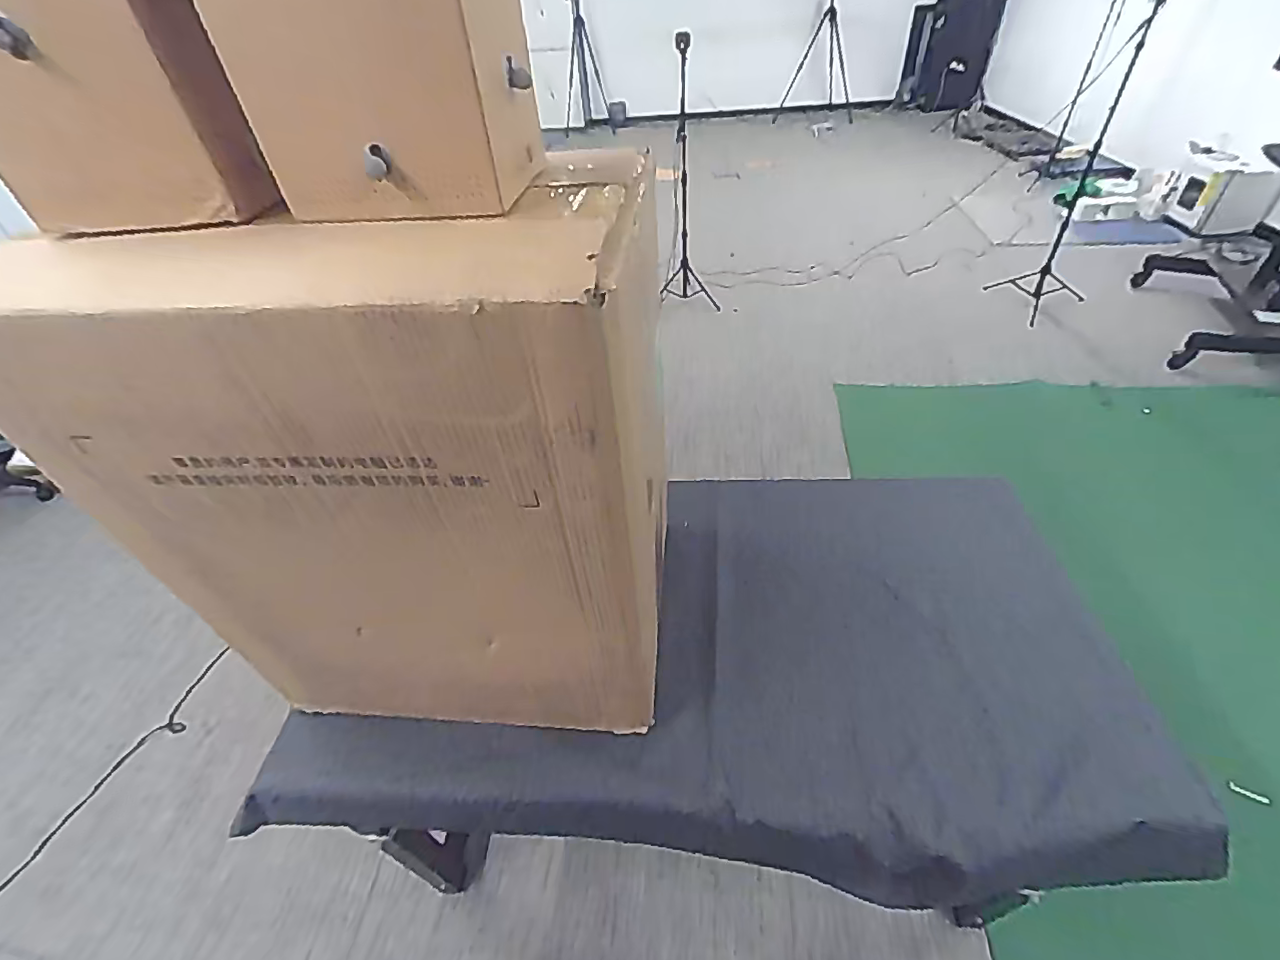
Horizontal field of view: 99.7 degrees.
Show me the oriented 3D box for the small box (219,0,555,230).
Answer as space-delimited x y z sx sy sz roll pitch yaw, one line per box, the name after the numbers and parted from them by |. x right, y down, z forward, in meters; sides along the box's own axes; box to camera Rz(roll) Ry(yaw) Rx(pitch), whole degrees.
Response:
-0.175 -0.317 0.438 0.179 0.176 0.168 0 42 6 | small box
